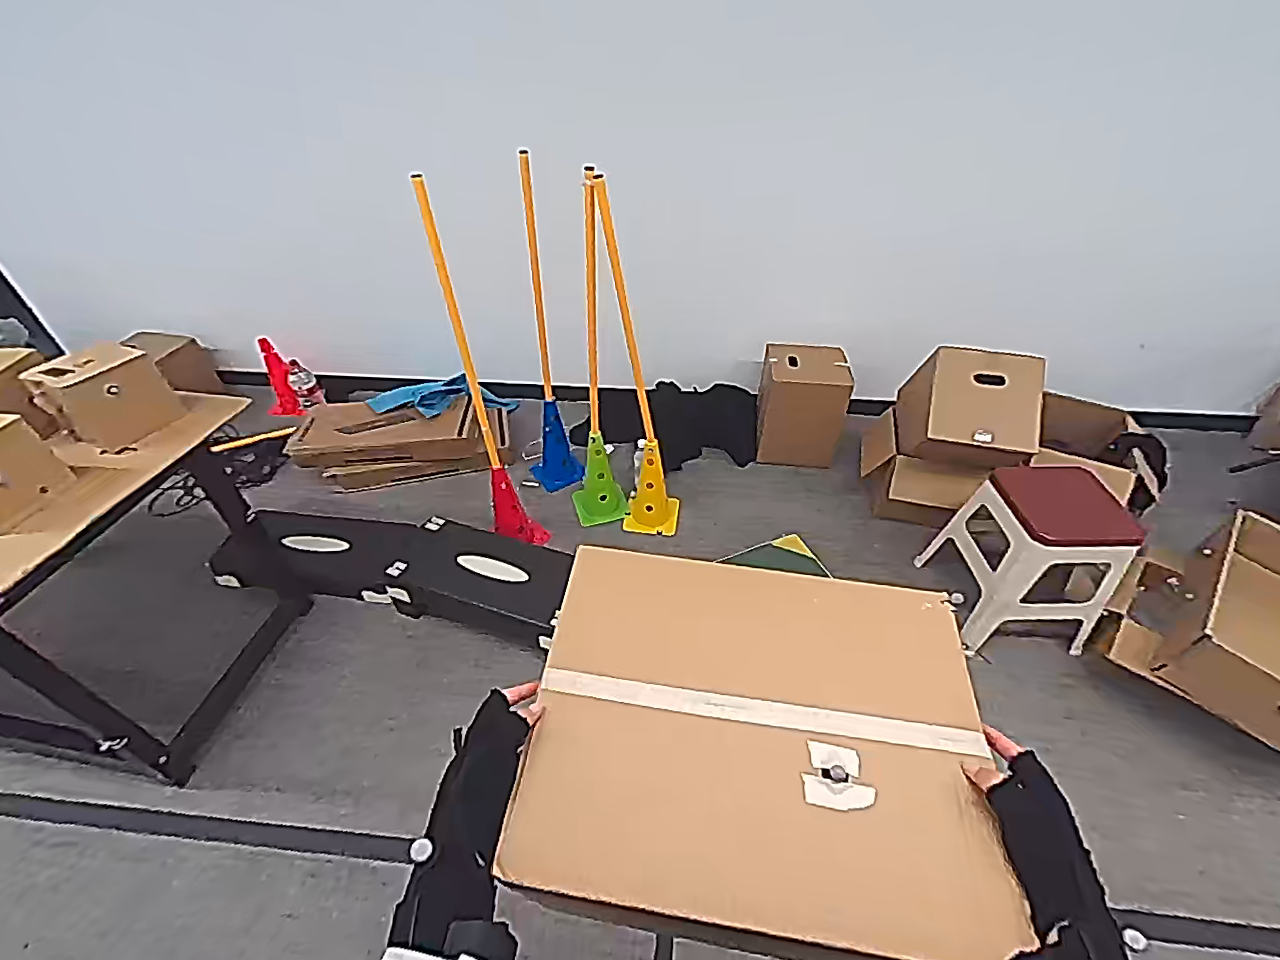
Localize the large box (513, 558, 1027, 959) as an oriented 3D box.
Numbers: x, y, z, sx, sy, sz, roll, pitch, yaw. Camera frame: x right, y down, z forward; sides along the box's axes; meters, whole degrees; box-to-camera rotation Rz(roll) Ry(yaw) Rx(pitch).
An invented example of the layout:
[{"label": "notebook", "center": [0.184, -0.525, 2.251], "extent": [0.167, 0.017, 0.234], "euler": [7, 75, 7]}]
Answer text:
[{"label": "large box", "center": [0.110, 0.322, 0.623], "extent": [0.408, 0.320, 0.320], "euler": [7, 49, 6]}]
